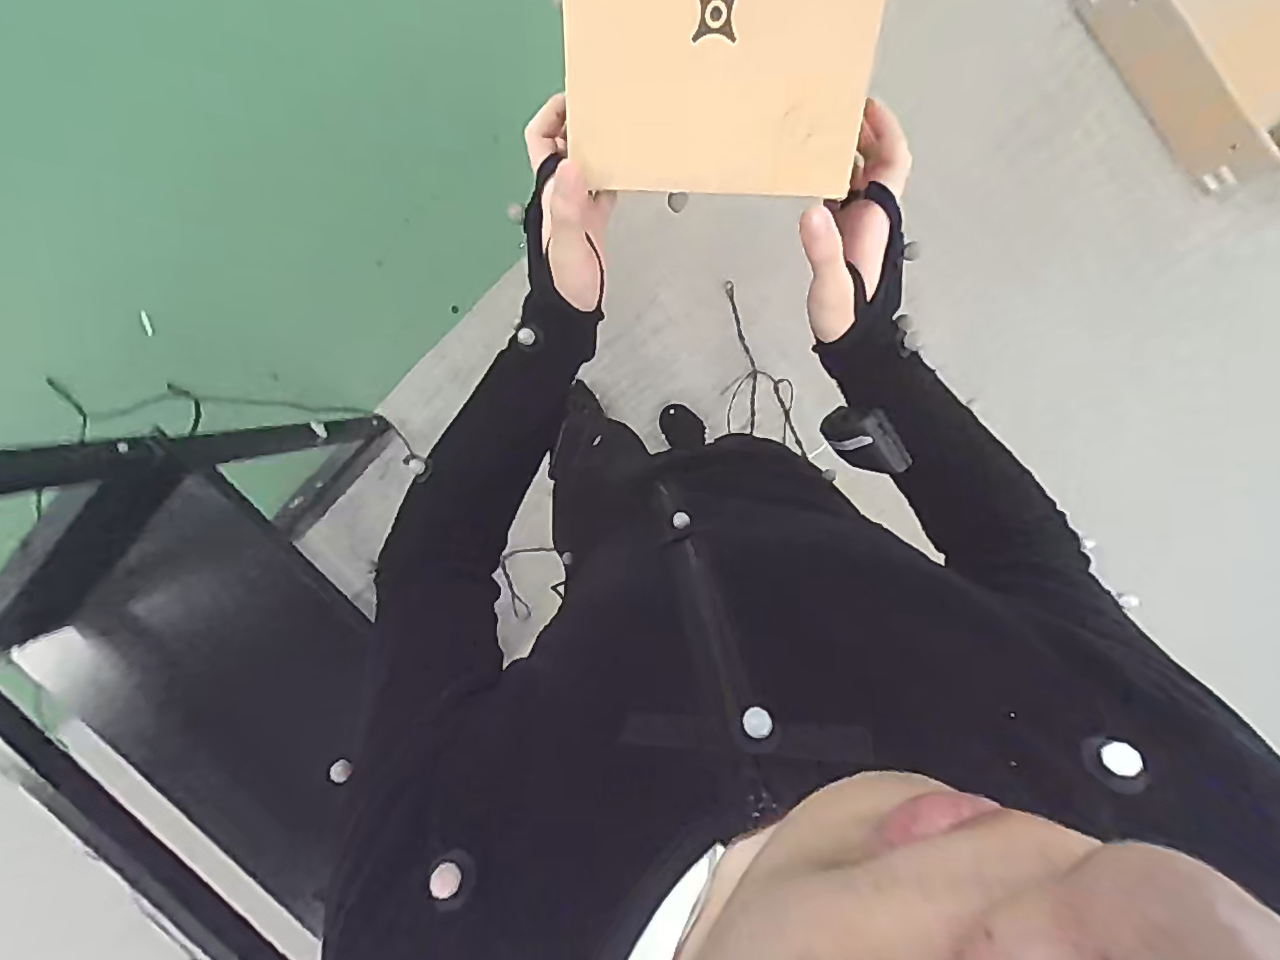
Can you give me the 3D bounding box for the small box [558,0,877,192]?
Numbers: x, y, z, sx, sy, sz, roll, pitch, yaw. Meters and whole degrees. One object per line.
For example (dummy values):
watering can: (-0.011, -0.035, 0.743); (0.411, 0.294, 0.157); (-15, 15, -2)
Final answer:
small box: (0.053, -0.287, 0.343); (0.168, 0.176, 0.179); (7, 119, 8)
